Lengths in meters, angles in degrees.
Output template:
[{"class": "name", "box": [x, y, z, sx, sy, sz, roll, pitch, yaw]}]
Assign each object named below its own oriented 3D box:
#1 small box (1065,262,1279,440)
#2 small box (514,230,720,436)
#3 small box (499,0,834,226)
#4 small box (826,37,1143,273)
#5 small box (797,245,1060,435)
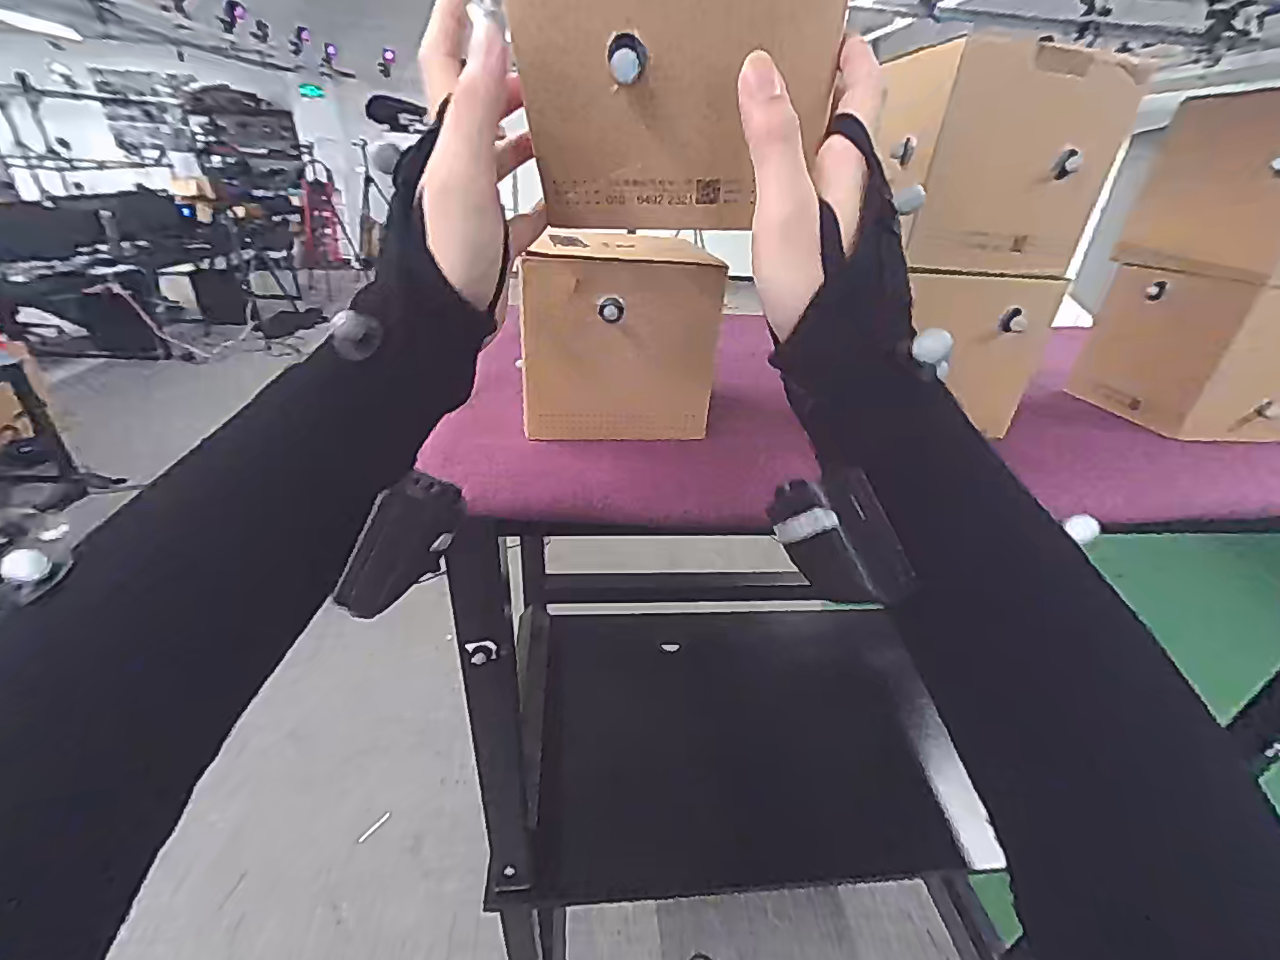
[{"class": "small box", "box": [0.668, -0.154, 0.641, 0.179, 0.176, 0.168, 0, 28, -7]}, {"class": "small box", "box": [-0.031, -0.153, 0.554, 0.179, 0.176, 0.168, 0, 30, -9]}, {"class": "small box", "box": [0.025, -0.274, 0.327, 0.168, 0.176, 0.179, 4, 54, 9]}, {"class": "small box", "box": [0.305, -0.302, 0.527, 0.168, 0.176, 0.179, 1, 29, -7]}, {"class": "small box", "box": [0.296, -0.157, 0.602, 0.179, 0.176, 0.168, 1, 29, -5]}]
